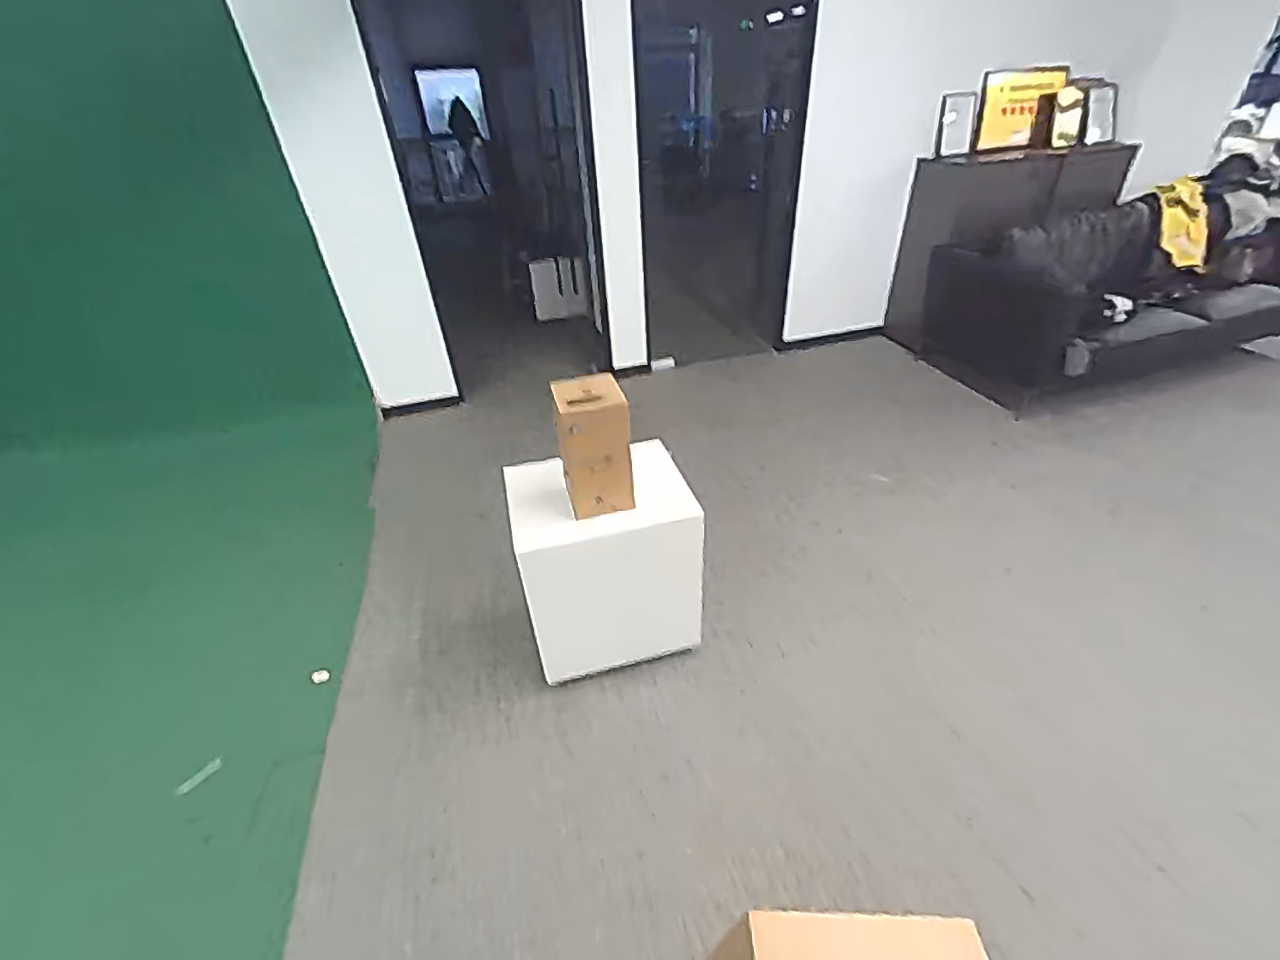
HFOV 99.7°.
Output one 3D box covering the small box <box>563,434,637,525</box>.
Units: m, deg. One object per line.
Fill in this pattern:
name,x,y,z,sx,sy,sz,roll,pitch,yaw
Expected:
small box,-0.110,-0.003,1.476,0.168,0.176,0.179,-12,35,-11
